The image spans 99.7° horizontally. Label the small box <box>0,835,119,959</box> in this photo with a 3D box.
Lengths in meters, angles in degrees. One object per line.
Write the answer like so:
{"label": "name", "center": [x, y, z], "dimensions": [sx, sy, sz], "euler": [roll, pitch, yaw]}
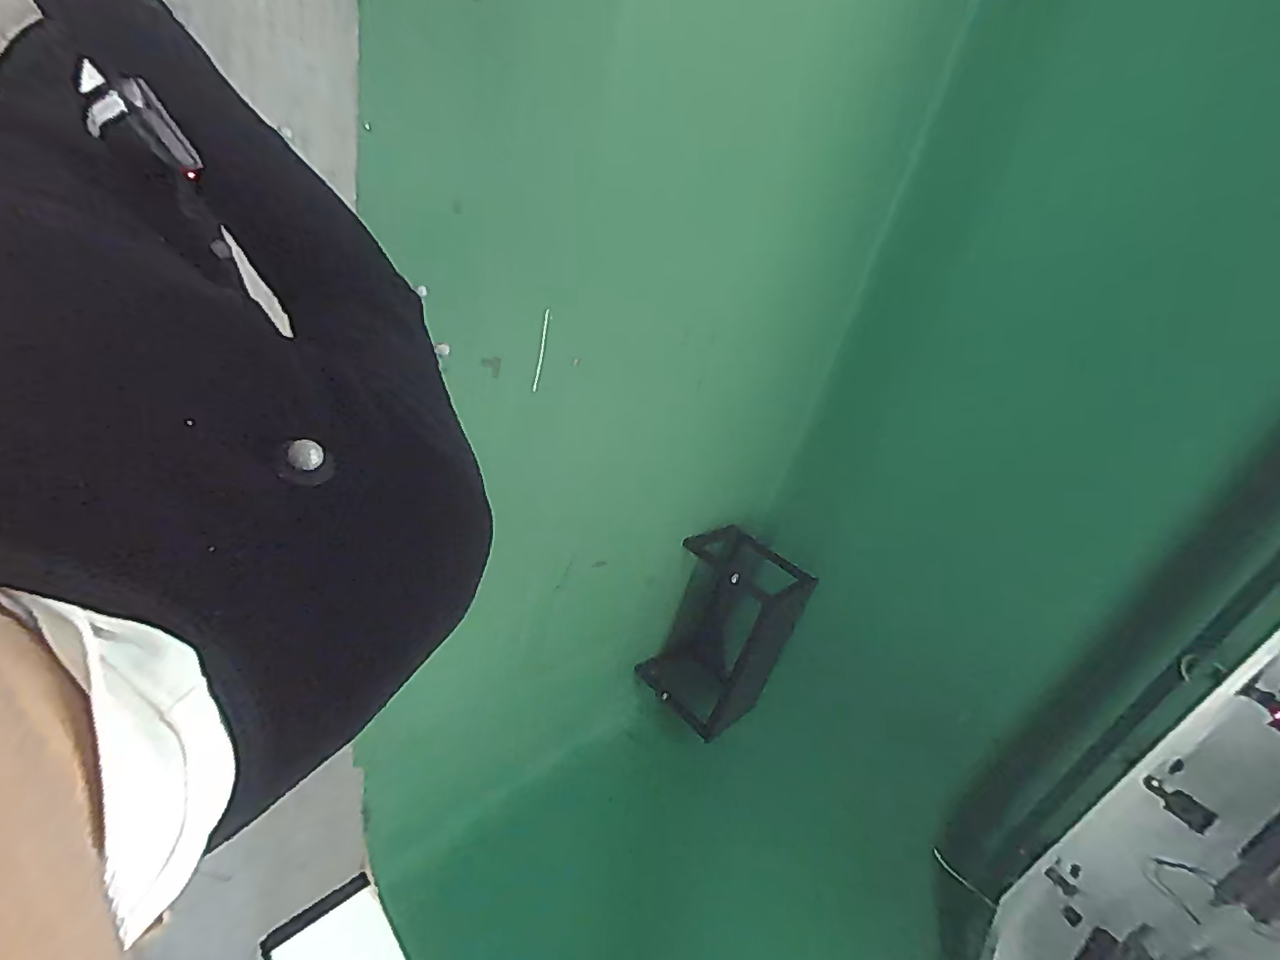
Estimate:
{"label": "small box", "center": [-1.135, 0.831, 1.041], "dimensions": [0.168, 0.176, 0.179], "euler": [-9, 125, -45]}

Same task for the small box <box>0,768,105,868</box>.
{"label": "small box", "center": [-1.244, 0.752, 1.132], "dimensions": [0.168, 0.176, 0.179], "euler": [-10, 127, -46]}
